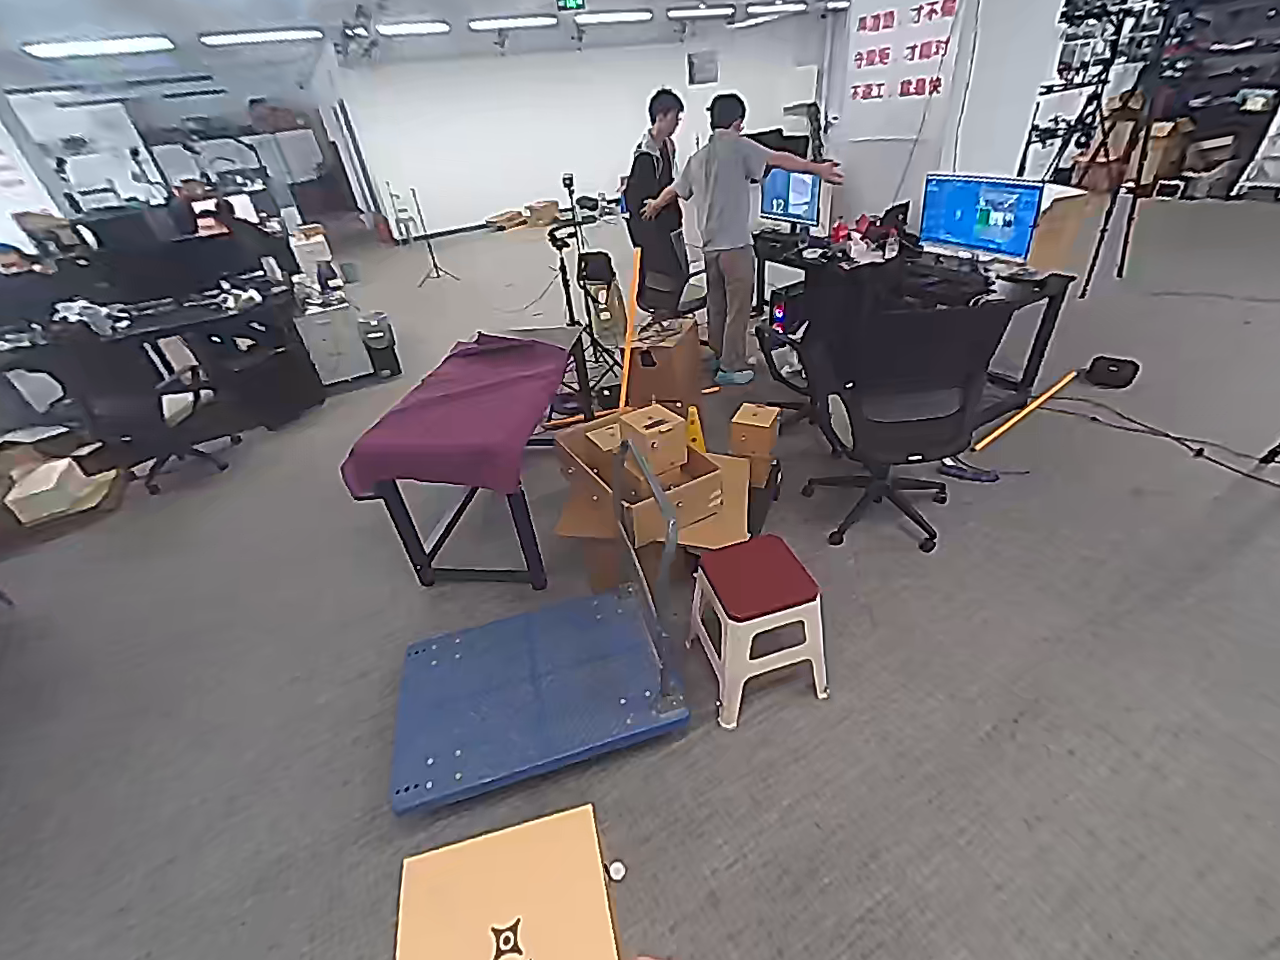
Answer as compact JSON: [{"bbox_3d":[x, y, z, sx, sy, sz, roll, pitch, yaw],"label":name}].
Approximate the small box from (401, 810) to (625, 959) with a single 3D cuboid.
[{"bbox_3d":[-0.099,0.428,0.467,0.168,0.176,0.179,-11,41,-8],"label":"small box"}]
